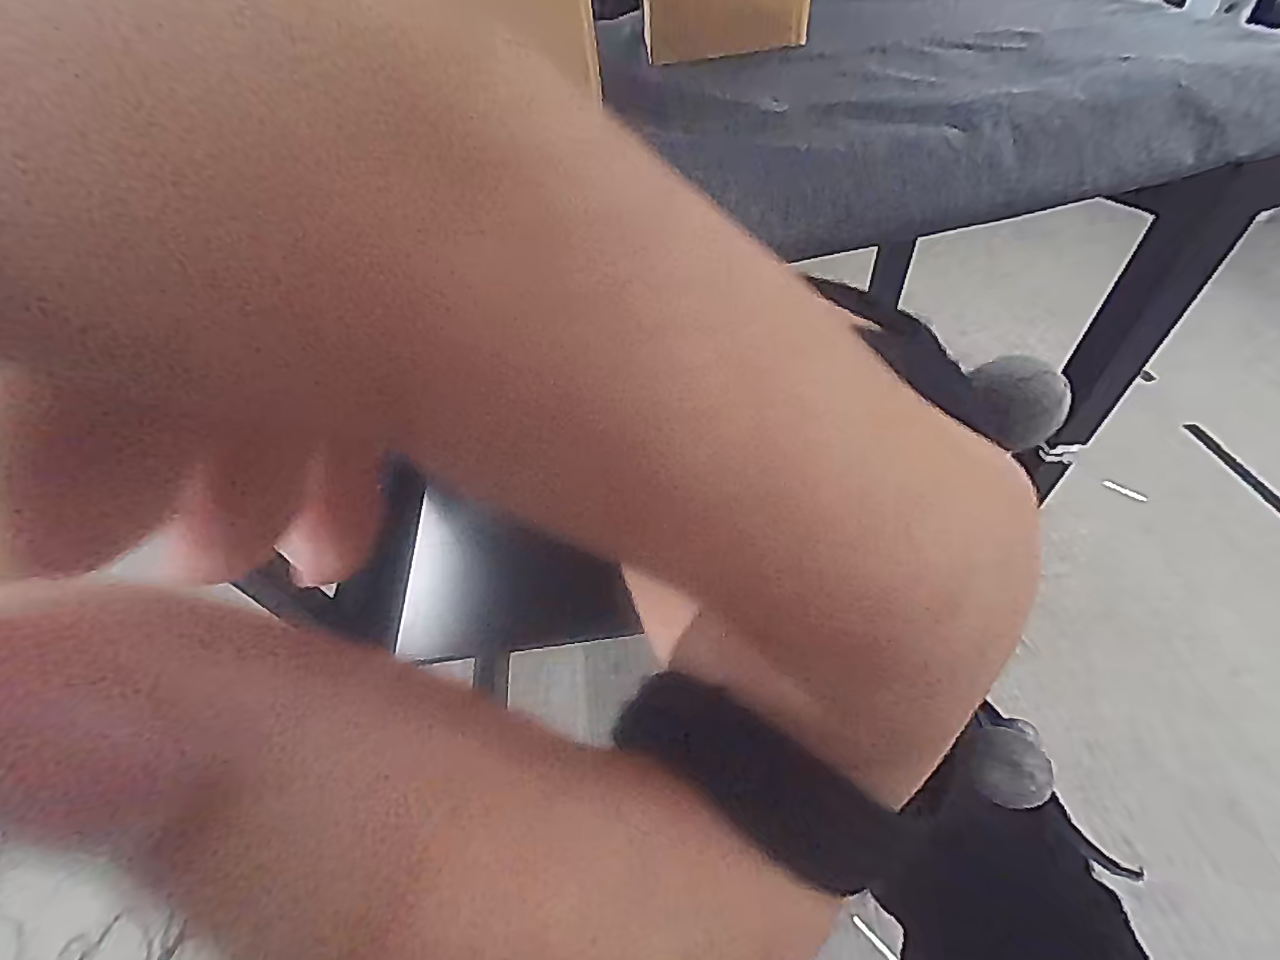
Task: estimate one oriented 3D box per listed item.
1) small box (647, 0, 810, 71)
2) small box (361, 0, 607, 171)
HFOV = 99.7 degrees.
[{"bbox_3d":[0.094,-0.588,0.602,0.179,0.176,0.168,-6,49,4],"label":"small box"},{"bbox_3d":[-0.122,-0.386,0.457,0.168,0.176,0.179,-6,48,3],"label":"small box"}]
